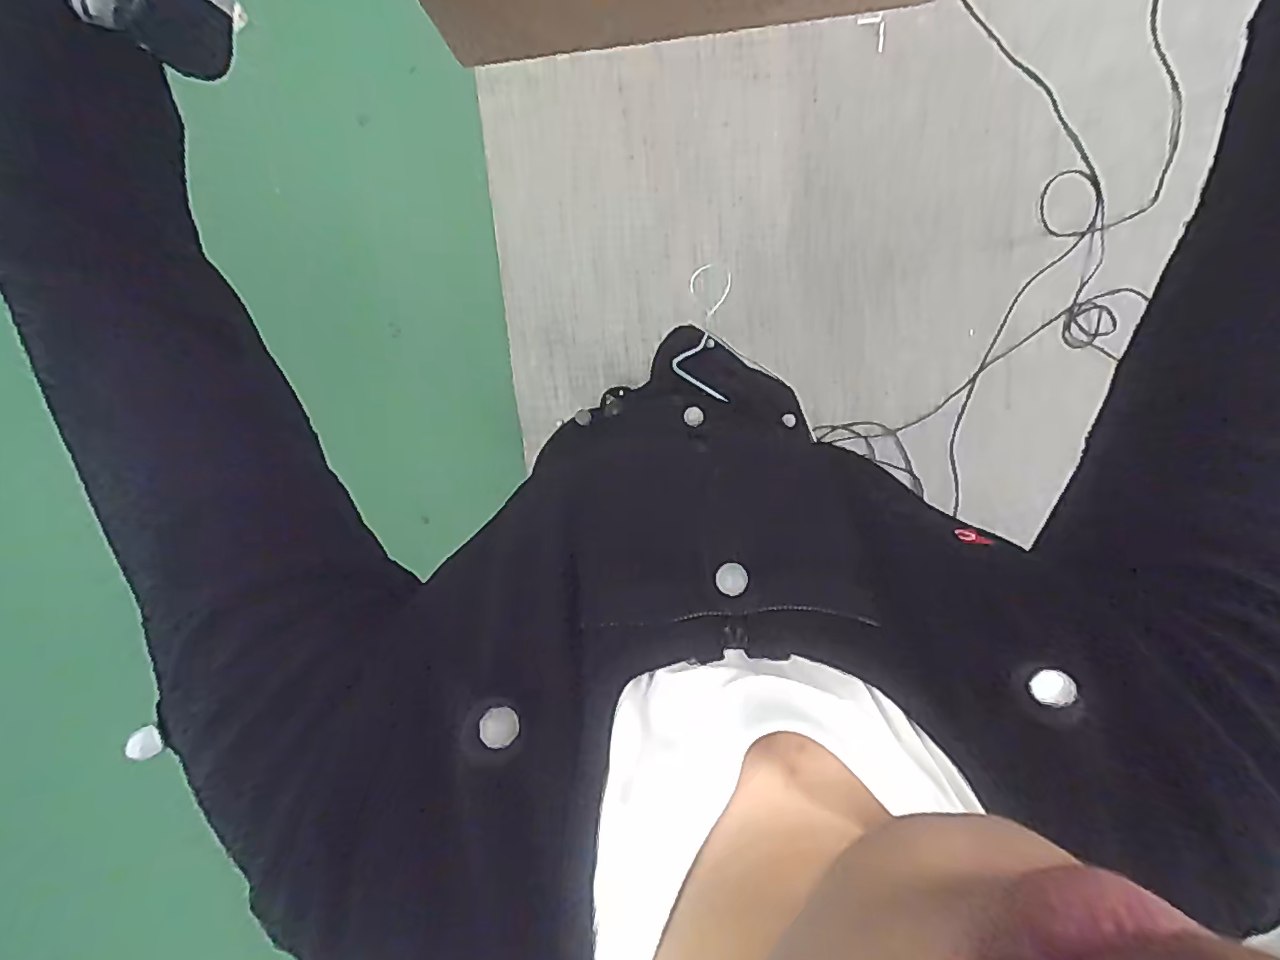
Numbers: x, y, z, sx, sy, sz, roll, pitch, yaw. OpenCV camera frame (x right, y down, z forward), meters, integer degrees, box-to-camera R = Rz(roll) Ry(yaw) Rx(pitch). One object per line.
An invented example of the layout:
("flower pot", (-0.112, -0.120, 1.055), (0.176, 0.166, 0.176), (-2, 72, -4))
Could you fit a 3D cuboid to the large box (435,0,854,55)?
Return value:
("large box", (0.028, -0.495, 0.278), (0.408, 0.320, 0.320), (-7, 104, 0))
